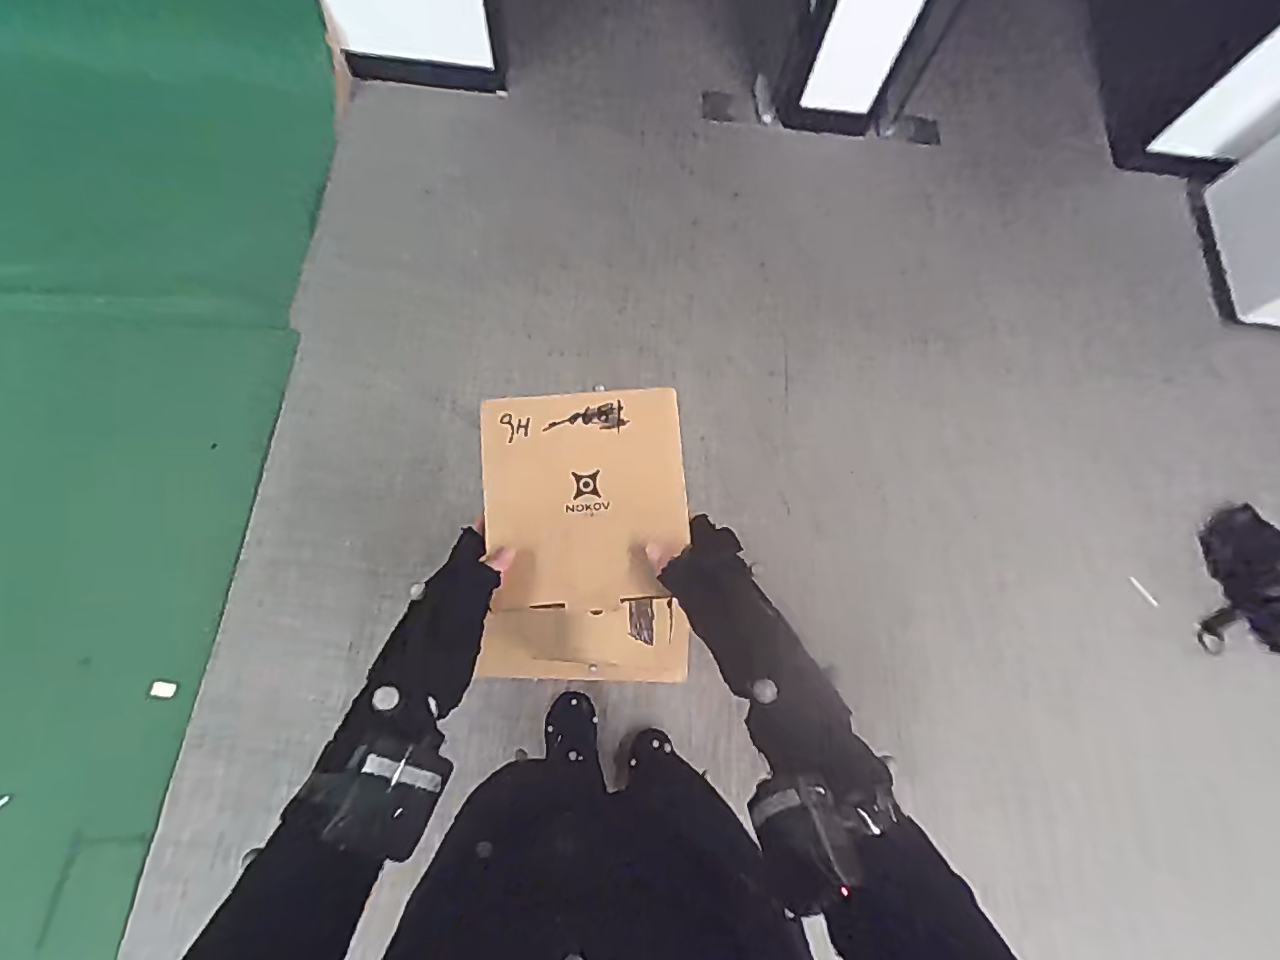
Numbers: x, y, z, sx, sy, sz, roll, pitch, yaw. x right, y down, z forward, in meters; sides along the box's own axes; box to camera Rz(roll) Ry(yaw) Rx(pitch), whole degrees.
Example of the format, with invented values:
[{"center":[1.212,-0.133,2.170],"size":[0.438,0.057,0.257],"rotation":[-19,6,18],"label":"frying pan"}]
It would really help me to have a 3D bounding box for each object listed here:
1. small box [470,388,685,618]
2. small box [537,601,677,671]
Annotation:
[{"center":[-0.052,0.023,0.514],"size":[0.168,0.176,0.179],"rotation":[-5,84,-3],"label":"small box"},{"center":[-0.046,0.178,0.776],"size":[0.179,0.176,0.168],"rotation":[3,74,-4],"label":"small box"}]
